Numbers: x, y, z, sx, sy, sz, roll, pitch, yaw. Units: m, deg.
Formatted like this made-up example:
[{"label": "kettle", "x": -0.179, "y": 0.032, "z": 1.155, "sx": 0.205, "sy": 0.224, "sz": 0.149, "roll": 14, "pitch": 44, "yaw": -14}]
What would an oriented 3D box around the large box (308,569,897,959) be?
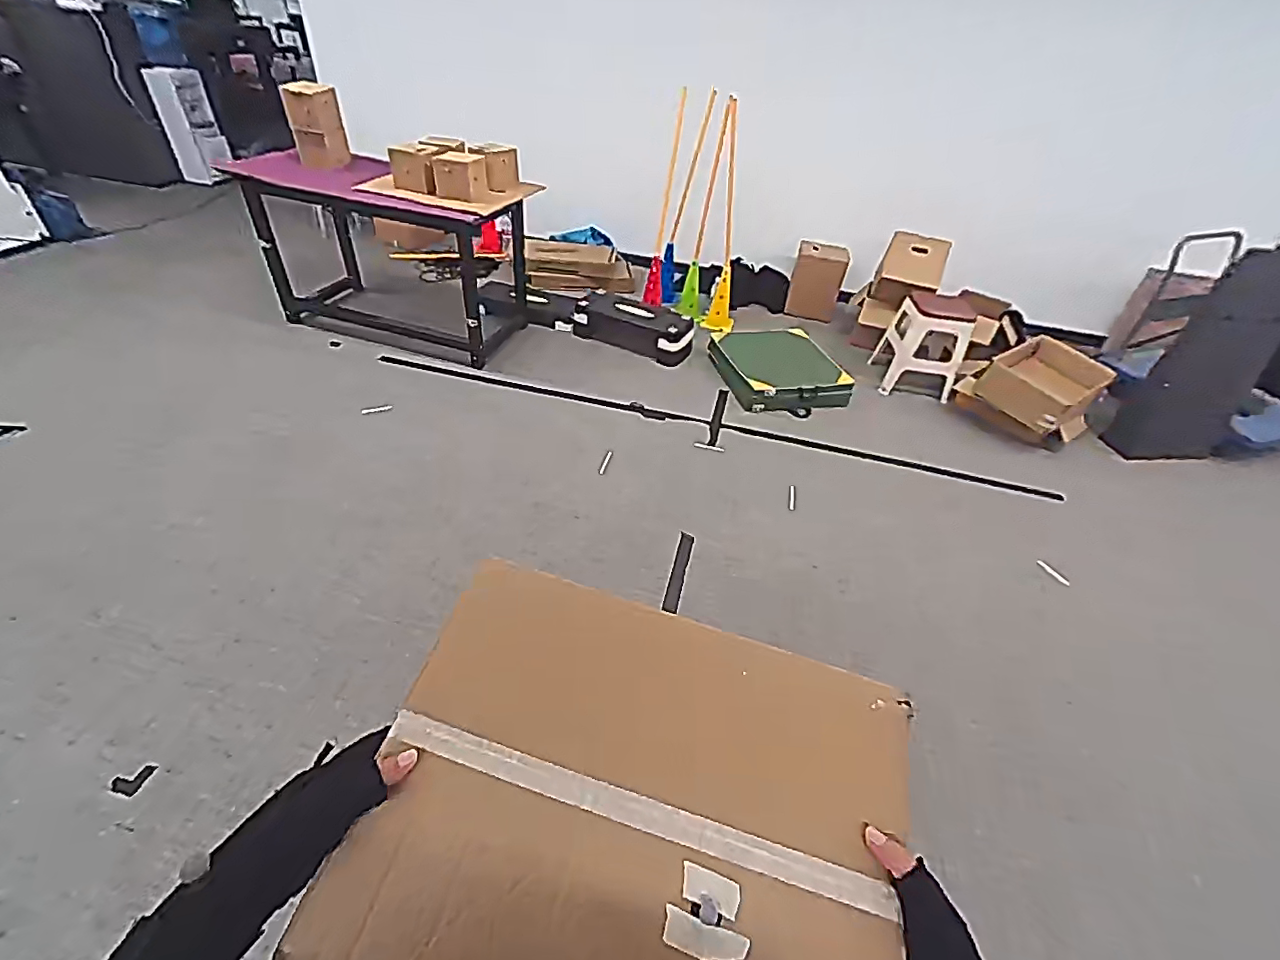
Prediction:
[{"label": "large box", "x": -0.010, "y": 0.340, "z": 0.553, "sx": 0.408, "sy": 0.320, "sz": 0.320, "roll": 17, "pitch": 58, "yaw": 6}]
